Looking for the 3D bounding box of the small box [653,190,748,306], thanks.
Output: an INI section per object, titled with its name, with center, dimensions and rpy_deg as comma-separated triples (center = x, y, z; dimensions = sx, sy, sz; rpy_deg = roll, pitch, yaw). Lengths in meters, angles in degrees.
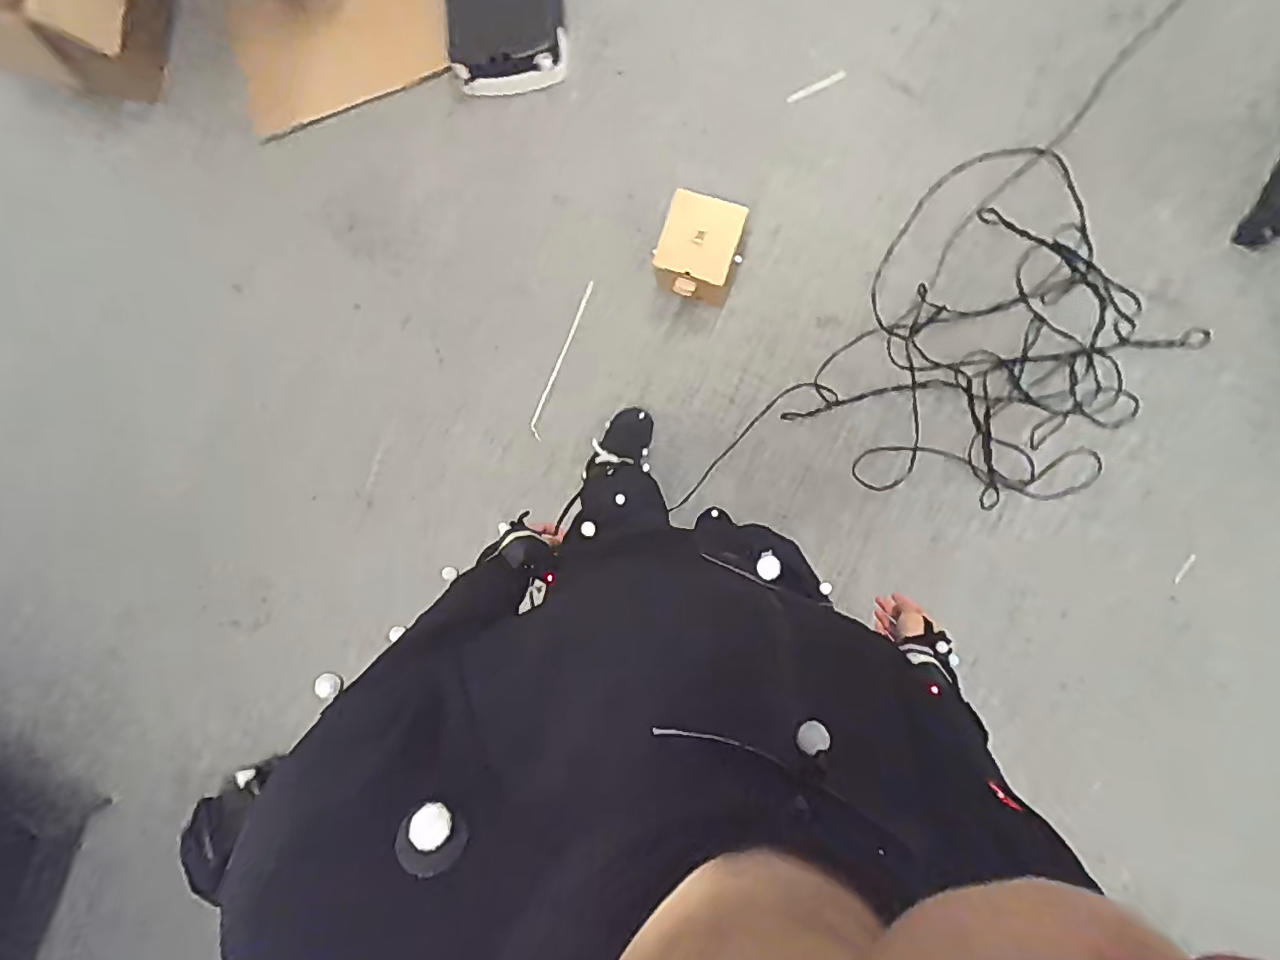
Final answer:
[small box]
center = 0.138, -0.528, 1.252
dimensions = 0.168, 0.176, 0.179
rpy_deg = 19, 95, 6
